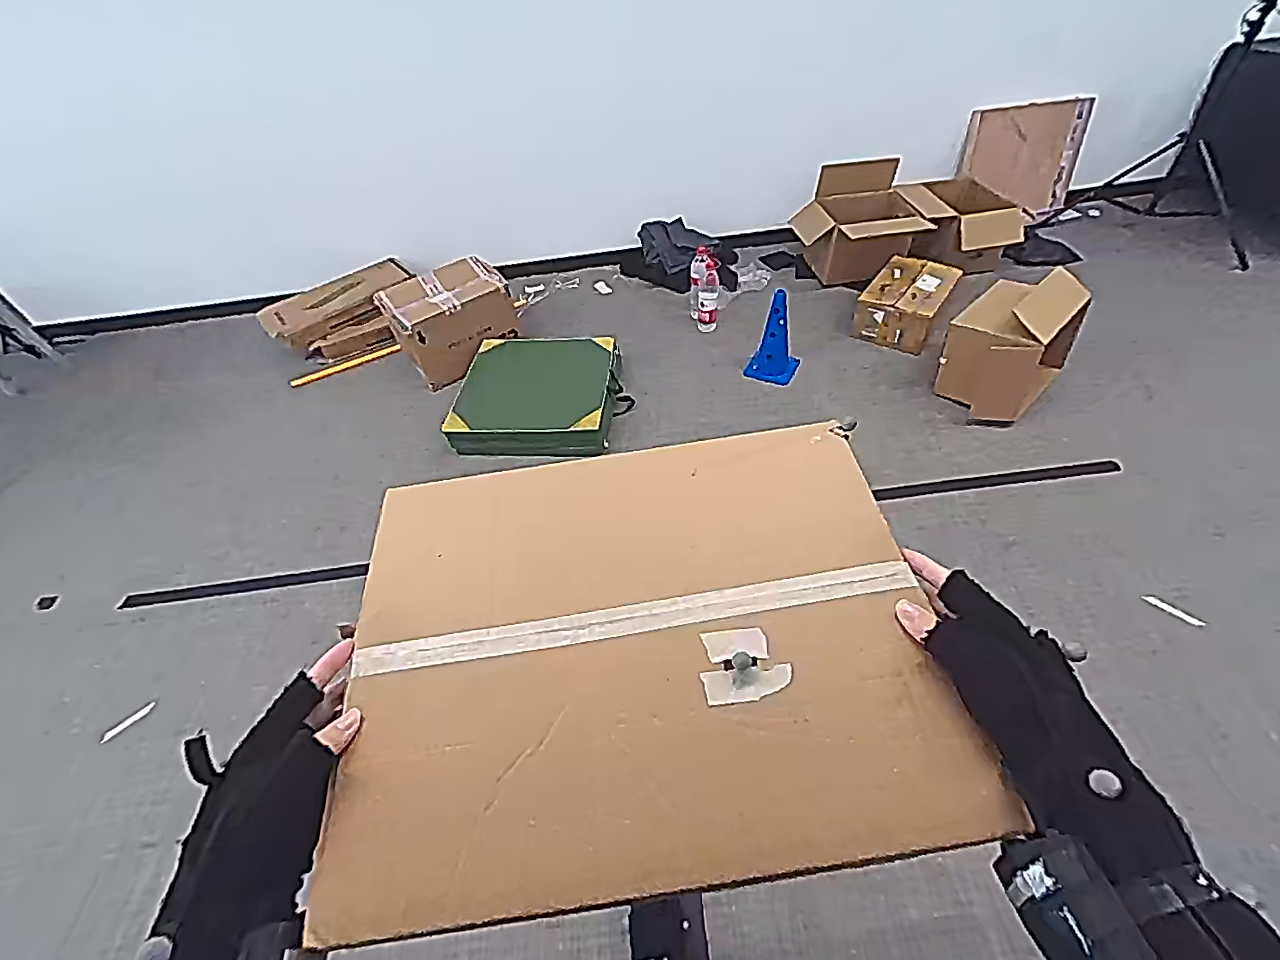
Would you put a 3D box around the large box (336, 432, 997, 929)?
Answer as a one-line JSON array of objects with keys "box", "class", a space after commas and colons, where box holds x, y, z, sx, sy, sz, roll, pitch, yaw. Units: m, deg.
[{"box": [0.008, 0.195, 0.522, 0.408, 0.320, 0.320, -8, 53, -1], "class": "large box"}]
